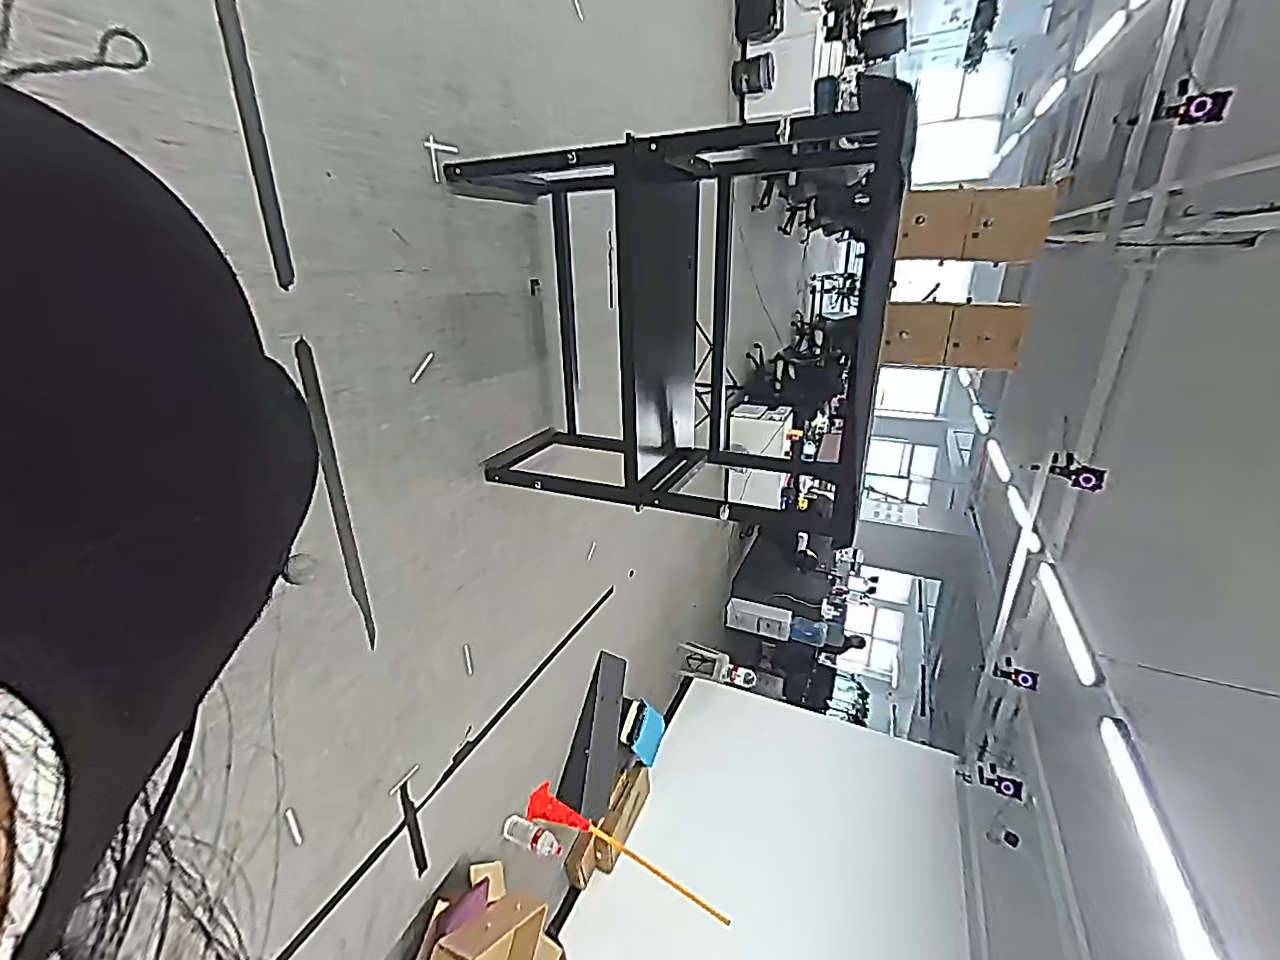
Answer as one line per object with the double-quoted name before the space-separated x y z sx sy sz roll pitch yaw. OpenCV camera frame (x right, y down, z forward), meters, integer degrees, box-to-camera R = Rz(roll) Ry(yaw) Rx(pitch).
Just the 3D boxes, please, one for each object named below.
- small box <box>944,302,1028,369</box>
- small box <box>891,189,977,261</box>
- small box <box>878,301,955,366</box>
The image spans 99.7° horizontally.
"small box" 0.935 -0.401 1.489 0.179 0.176 0.168 -40 134 -59
"small box" 0.776 -0.677 1.446 0.179 0.176 0.168 -42 137 -57
"small box" 0.783 -0.424 1.548 0.179 0.176 0.168 -40 133 -60
